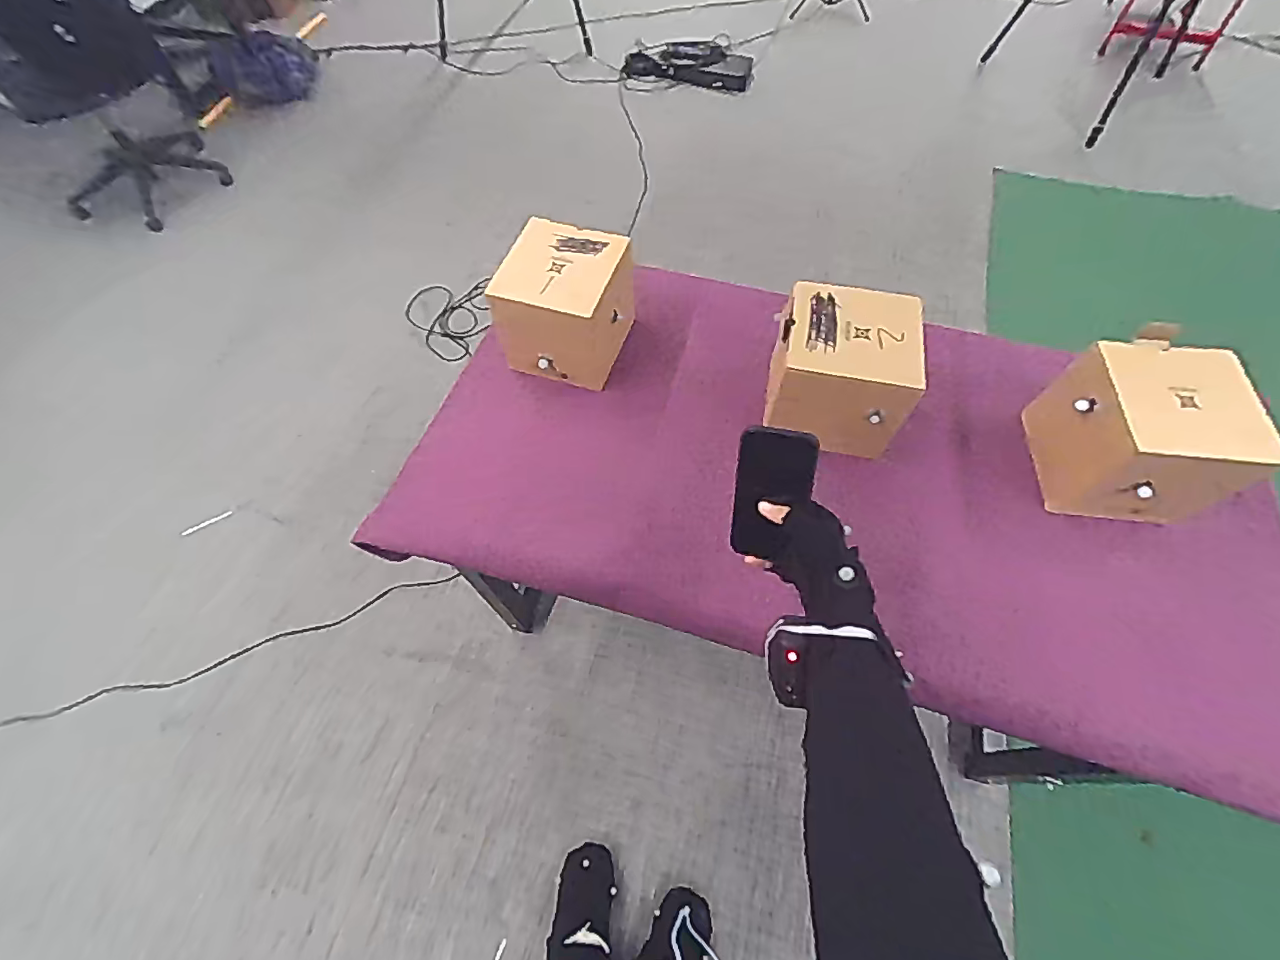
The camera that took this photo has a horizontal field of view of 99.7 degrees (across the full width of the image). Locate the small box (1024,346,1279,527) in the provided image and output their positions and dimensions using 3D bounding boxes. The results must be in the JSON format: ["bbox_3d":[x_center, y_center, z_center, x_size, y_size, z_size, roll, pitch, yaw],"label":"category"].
[{"bbox_3d":[0.658,-0.051,0.722,0.168,0.176,0.179,6,60,5],"label":"small box"}]

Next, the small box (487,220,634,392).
[{"bbox_3d":[-0.114,-0.271,0.857,0.168,0.176,0.179,16,64,10],"label":"small box"}]
